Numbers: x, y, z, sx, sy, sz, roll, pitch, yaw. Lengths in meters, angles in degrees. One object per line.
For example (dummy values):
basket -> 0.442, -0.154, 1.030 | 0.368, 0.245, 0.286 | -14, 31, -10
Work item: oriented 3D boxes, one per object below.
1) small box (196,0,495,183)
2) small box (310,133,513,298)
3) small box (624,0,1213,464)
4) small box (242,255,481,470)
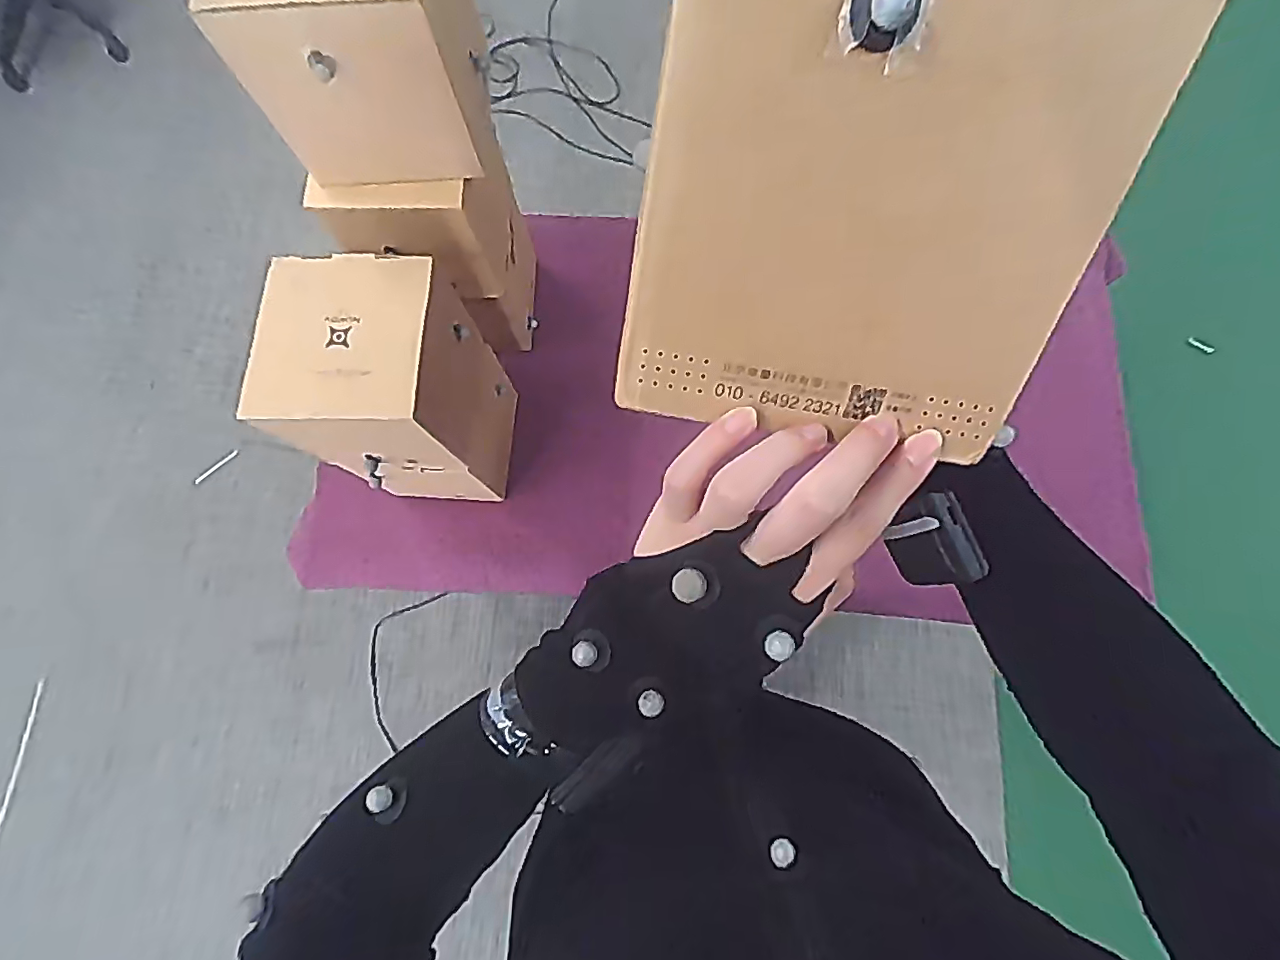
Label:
small box -> -0.246, -0.403, 0.500 | 0.179, 0.176, 0.168 | -2, 76, 0
small box -> -0.257, -0.338, 0.653 | 0.168, 0.176, 0.179 | 1, 75, 1
small box -> 0.088, -0.128, 0.274 | 0.168, 0.179, 0.176 | 9, 118, -1
small box -> -0.284, -0.119, 0.596 | 0.168, 0.176, 0.179 | 1, 75, 1
